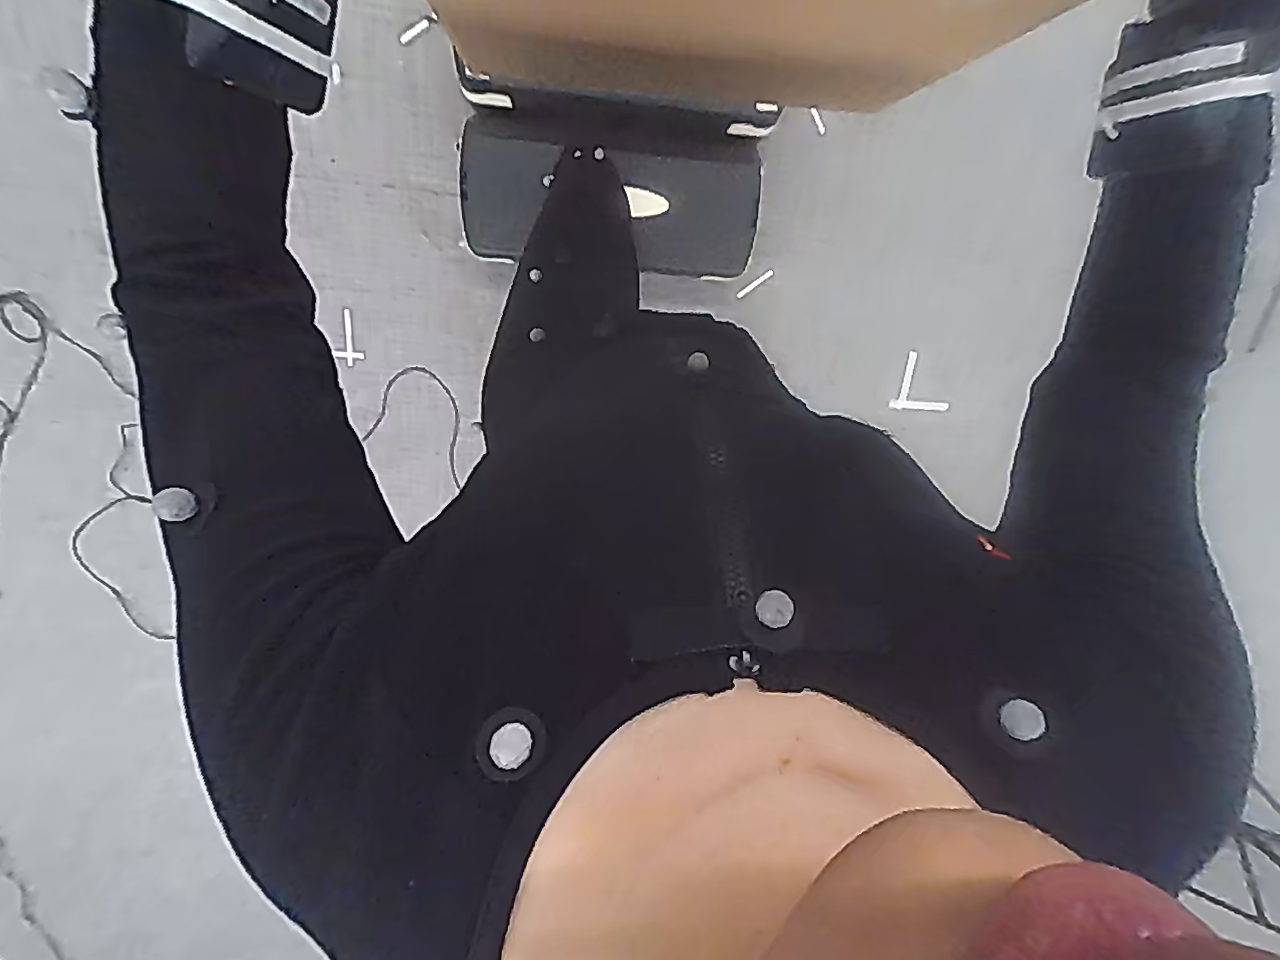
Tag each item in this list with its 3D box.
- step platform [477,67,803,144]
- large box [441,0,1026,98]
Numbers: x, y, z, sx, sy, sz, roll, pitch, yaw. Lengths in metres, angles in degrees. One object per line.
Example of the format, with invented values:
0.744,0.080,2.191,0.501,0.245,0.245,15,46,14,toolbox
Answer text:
0.009,-0.903,1.109,0.684,0.204,0.286,2,109,-6,step platform
0.059,-0.474,0.337,0.408,0.320,0.320,0,112,-7,large box
